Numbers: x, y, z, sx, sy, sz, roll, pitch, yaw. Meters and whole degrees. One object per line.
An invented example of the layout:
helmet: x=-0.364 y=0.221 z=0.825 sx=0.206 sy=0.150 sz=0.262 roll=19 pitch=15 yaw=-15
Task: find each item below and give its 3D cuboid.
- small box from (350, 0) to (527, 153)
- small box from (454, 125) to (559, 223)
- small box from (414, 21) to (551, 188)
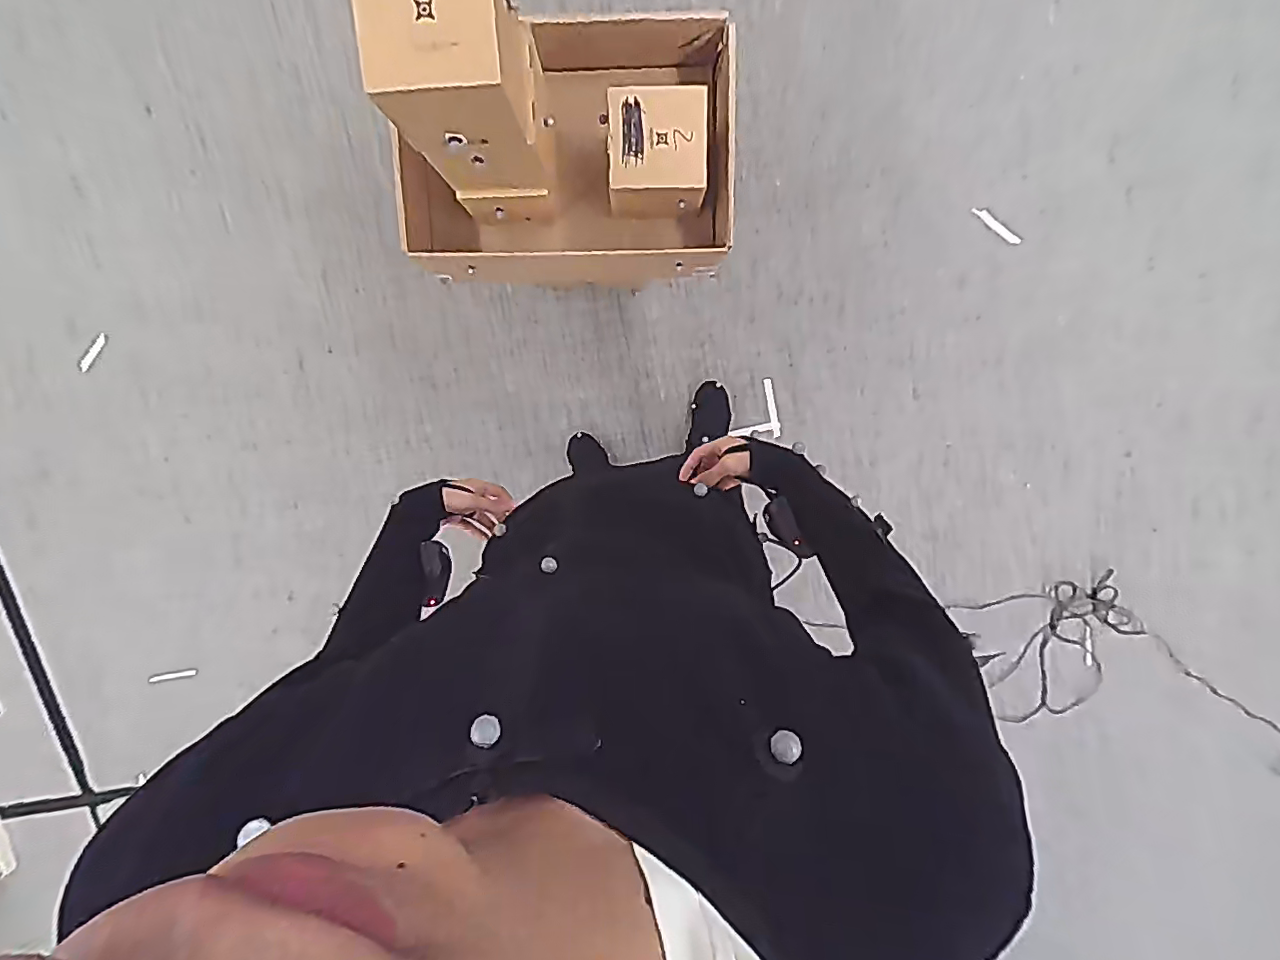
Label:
small box: x=-0.247 y=-0.552 z=0.692 sx=0.168 sy=0.176 sz=0.179 roll=-3 pitch=98 yaw=1
small box: x=-0.248 y=-0.597 z=1.017 sx=0.168 sy=0.176 sz=0.179 roll=-3 pitch=99 yaw=-1
small box: x=-0.243 y=-0.579 z=0.854 sx=0.179 sy=0.176 sz=0.168 roll=-1 pitch=99 yaw=-1
